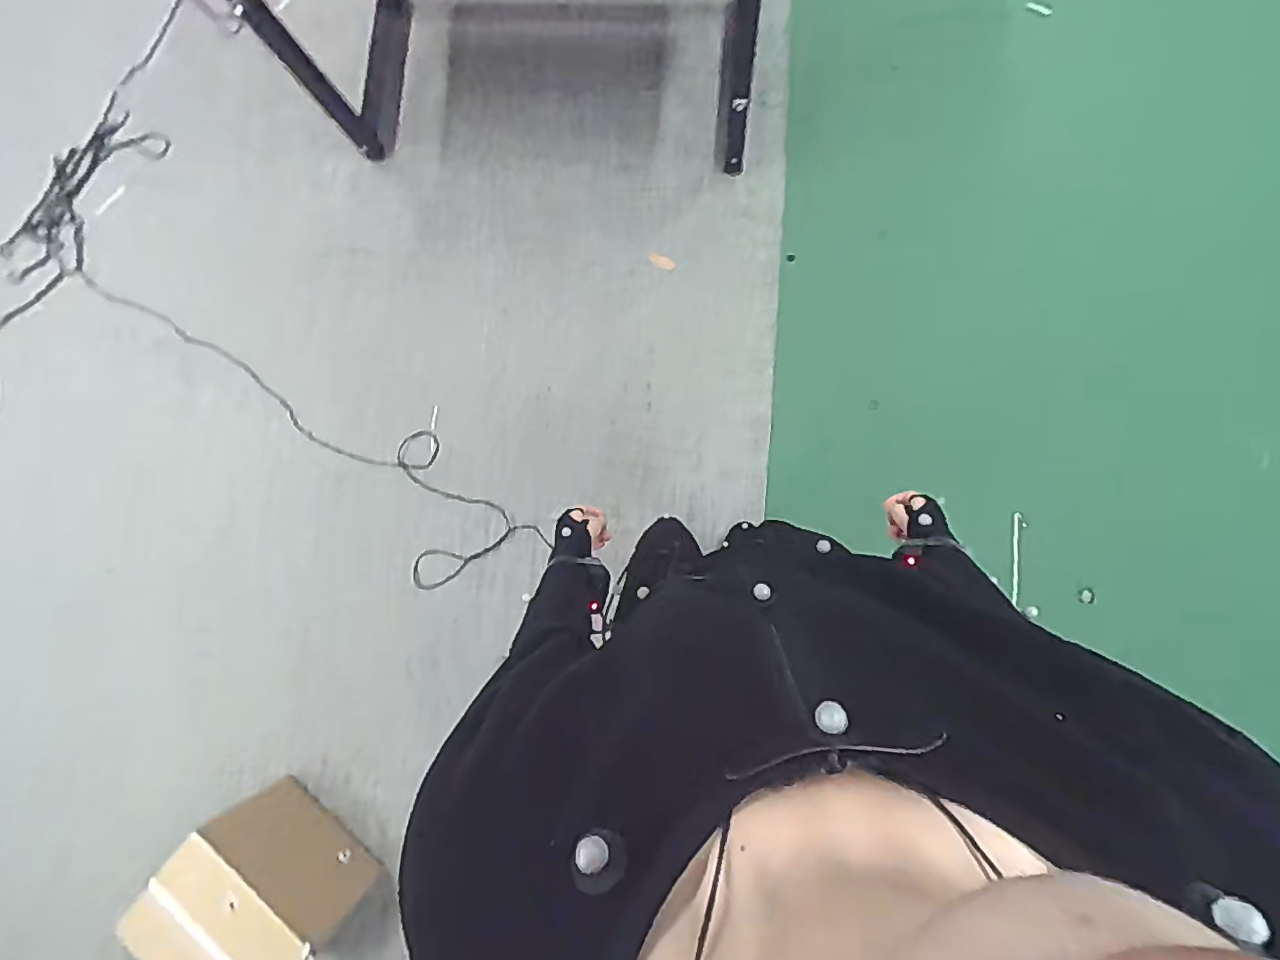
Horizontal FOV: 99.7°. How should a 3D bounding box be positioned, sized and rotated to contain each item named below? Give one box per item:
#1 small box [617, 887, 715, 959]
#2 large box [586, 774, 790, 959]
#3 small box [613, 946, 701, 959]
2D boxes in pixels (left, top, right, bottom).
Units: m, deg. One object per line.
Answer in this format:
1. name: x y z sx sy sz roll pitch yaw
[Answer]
1. small box: 0.058 0.935 1.059 0.179 0.176 0.168 -7 83 6
2. large box: 0.111 0.951 1.299 0.408 0.320 0.320 -10 85 4
3. small box: 0.030 0.924 0.898 0.168 0.176 0.179 -5 83 6
